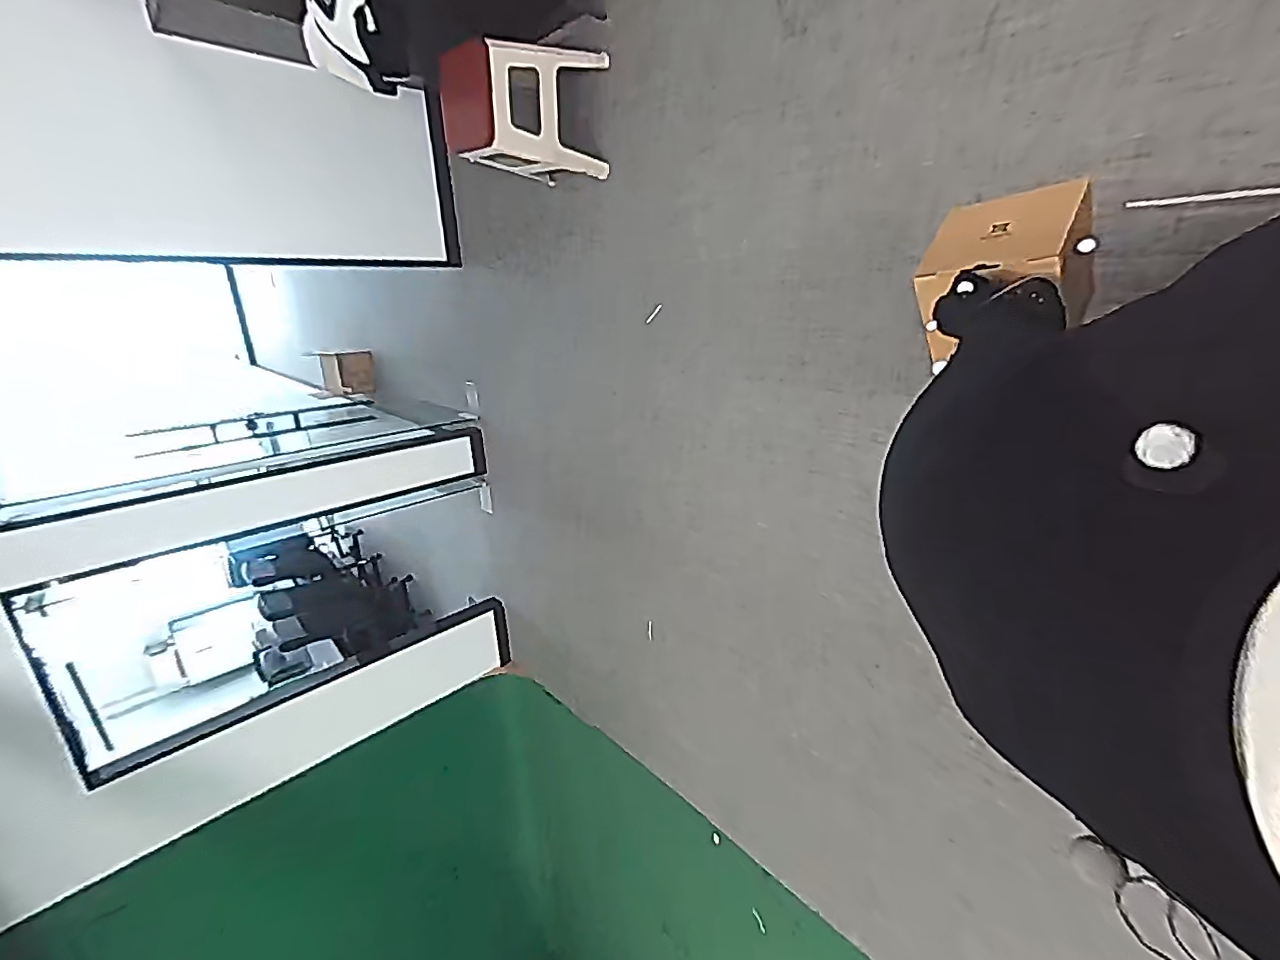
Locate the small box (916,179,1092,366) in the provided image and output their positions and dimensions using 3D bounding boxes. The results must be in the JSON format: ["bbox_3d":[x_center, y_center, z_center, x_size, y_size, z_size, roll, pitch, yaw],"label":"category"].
[{"bbox_3d":[0.523,-0.284,0.771,0.168,0.179,0.176,8,145,47],"label":"small box"}]
